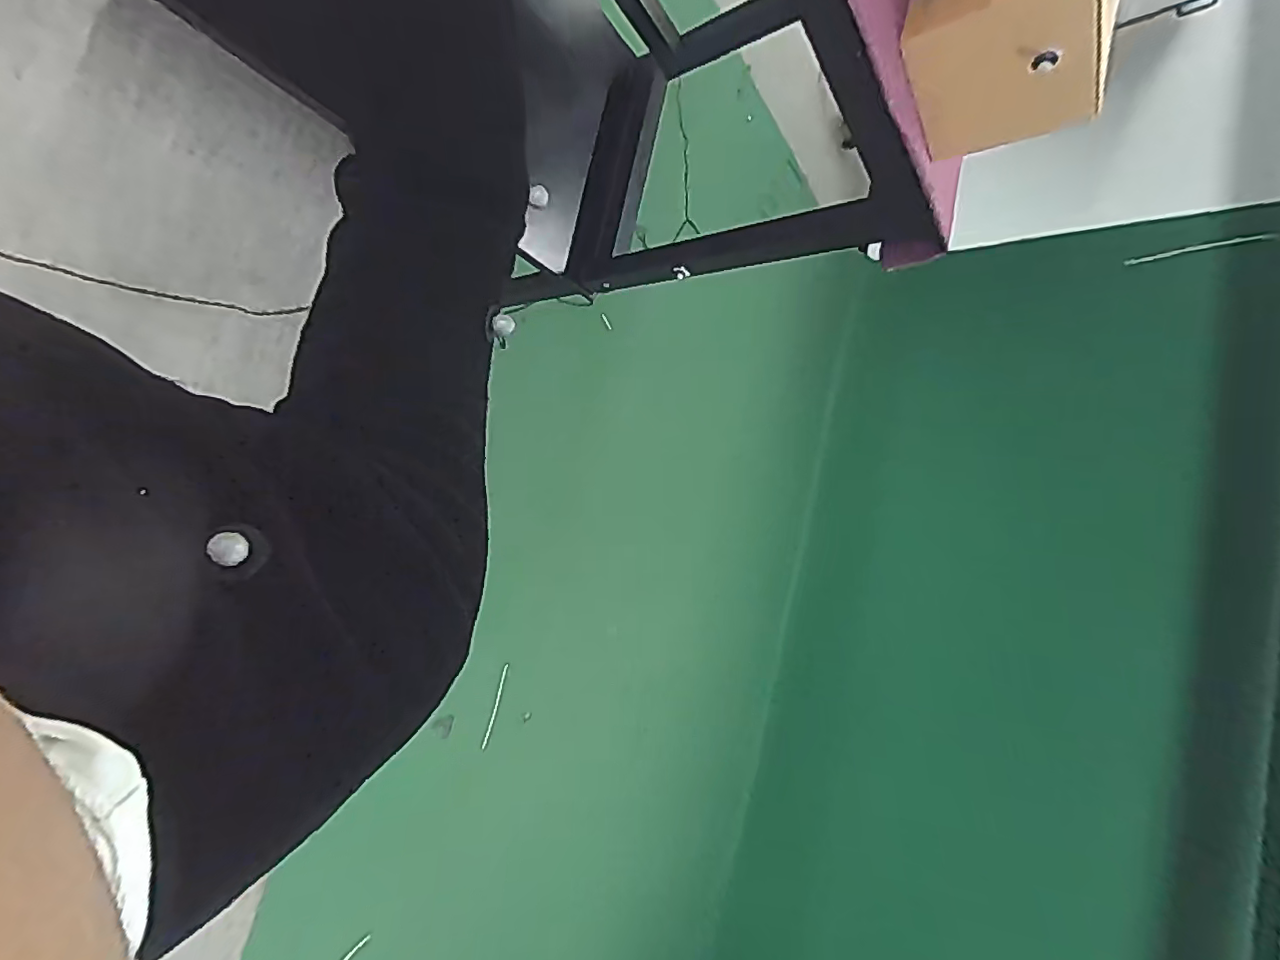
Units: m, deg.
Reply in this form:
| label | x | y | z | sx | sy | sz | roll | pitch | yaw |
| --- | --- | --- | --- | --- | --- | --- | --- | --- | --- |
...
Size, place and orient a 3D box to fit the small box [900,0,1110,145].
| label | x | y | z | sx | sy | sz | roll | pitch | yaw |
| --- | --- | --- | --- | --- | --- | --- | --- | --- | --- |
| small box | 0.404 | -0.515 | 0.597 | 0.179 | 0.176 | 0.168 | 27 | 76 | -48 |
